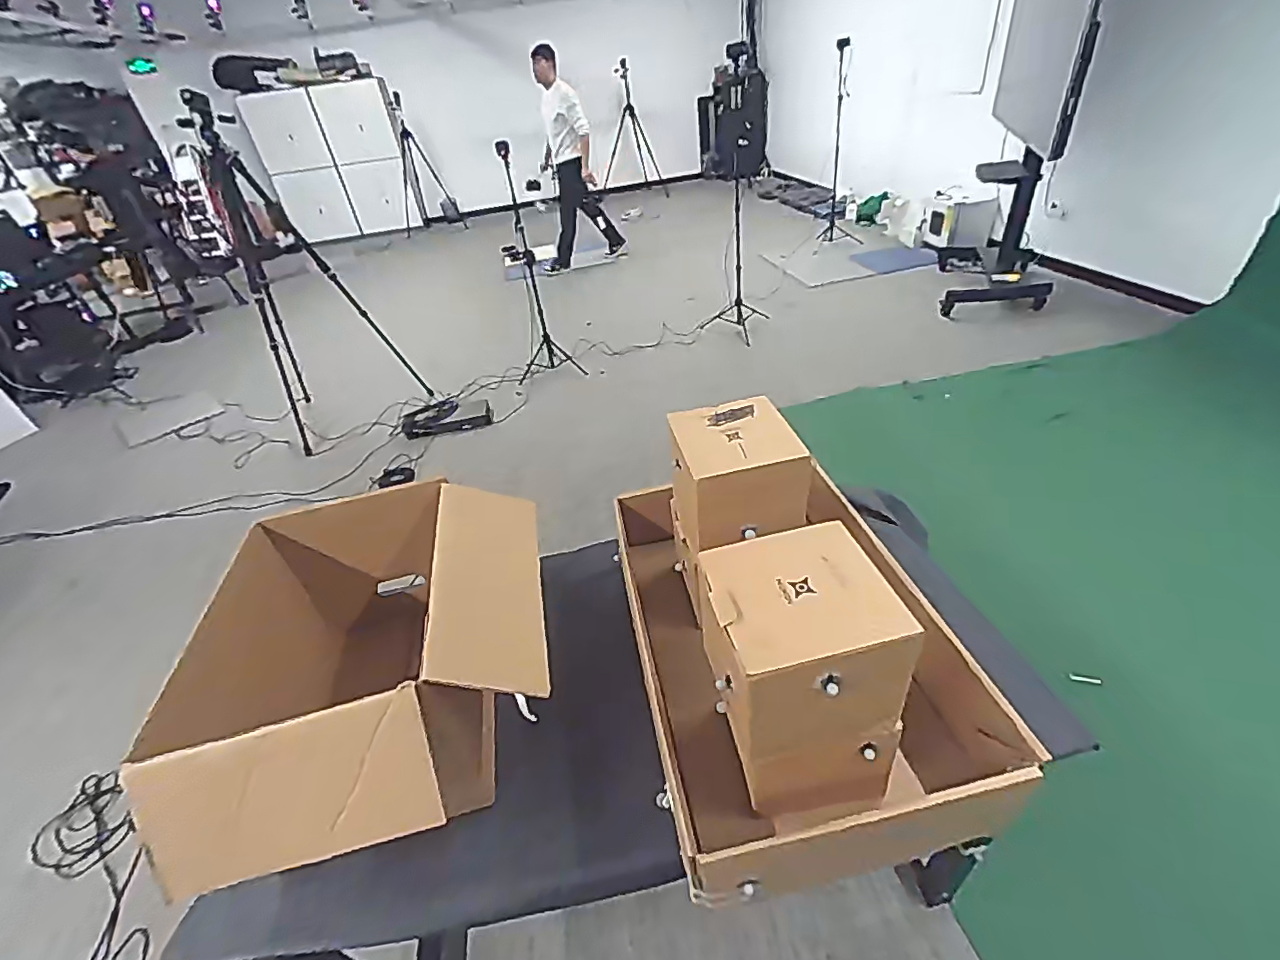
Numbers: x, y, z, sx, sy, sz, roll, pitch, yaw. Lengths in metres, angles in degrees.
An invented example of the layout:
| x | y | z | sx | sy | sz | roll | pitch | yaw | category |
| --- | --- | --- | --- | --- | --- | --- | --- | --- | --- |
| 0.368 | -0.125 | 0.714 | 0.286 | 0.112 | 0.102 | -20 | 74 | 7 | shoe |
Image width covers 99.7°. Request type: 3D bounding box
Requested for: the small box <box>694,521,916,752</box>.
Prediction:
| x | y | z | sx | sy | sz | roll | pitch | yaw | category |
| --- | --- | --- | --- | --- | --- | --- | --- | --- | --- |
| 0.170 | 0.175 | 0.606 | 0.179 | 0.176 | 0.168 | -12 | 38 | -5 | small box |

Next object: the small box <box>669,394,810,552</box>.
| x | y | z | sx | sy | sz | roll | pitch | yaw | category |
| --- | --- | --- | --- | --- | --- | --- | --- | --- | --- |
| 0.144 | -0.007 | 0.837 | 0.168 | 0.176 | 0.179 | -12 | 39 | -4 | small box |
